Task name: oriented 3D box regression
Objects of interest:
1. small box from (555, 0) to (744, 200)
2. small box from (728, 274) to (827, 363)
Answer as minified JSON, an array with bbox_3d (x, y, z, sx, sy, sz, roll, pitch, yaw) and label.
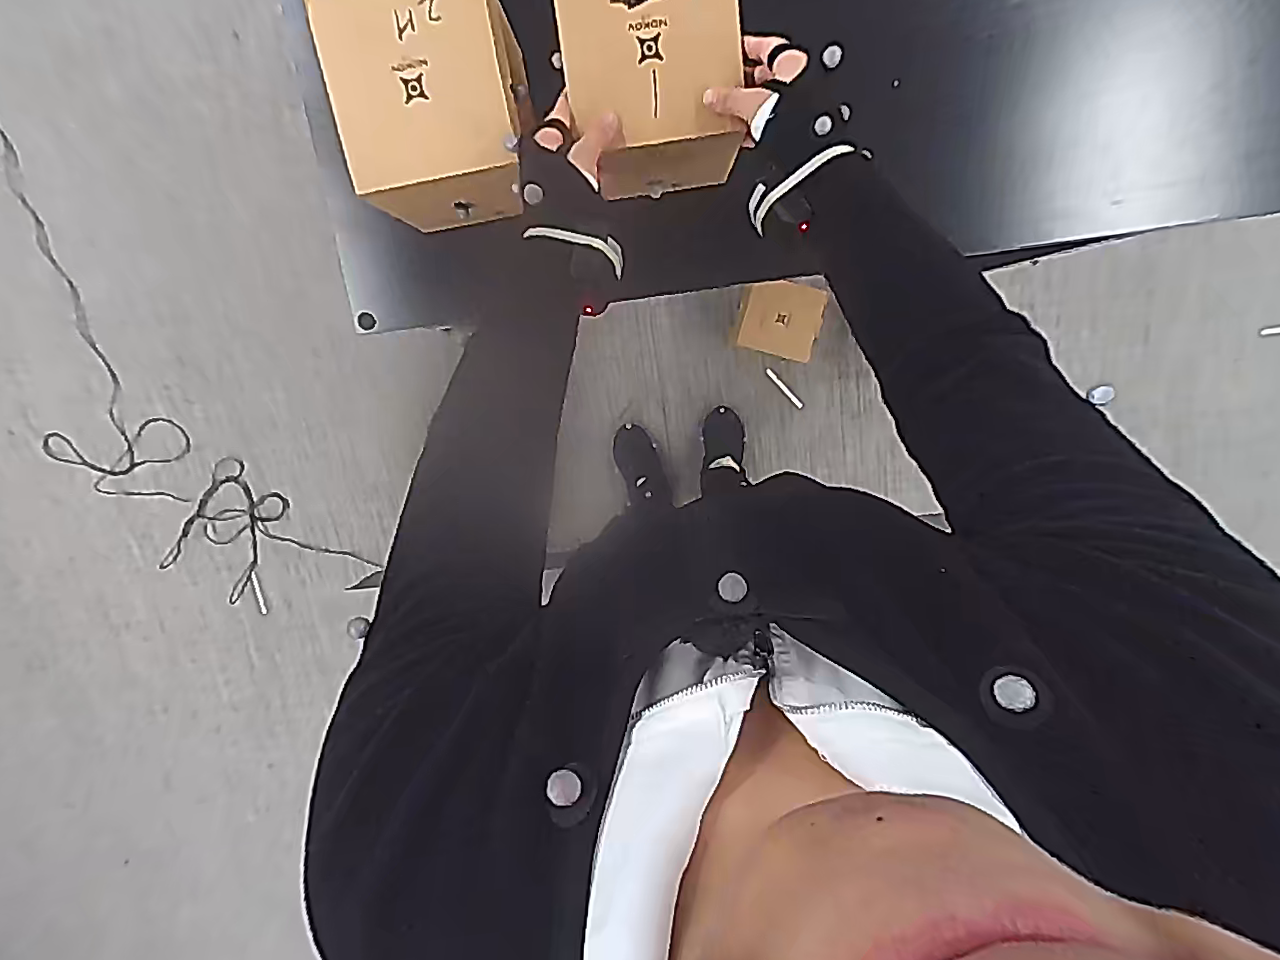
[{"bbox_3d":[0.009,-0.419,0.568,0.168,0.176,0.179,-7,103,3],"label":"small box"},{"bbox_3d":[0.325,-0.388,1.318,0.179,0.176,0.168,14,102,-1],"label":"small box"}]
